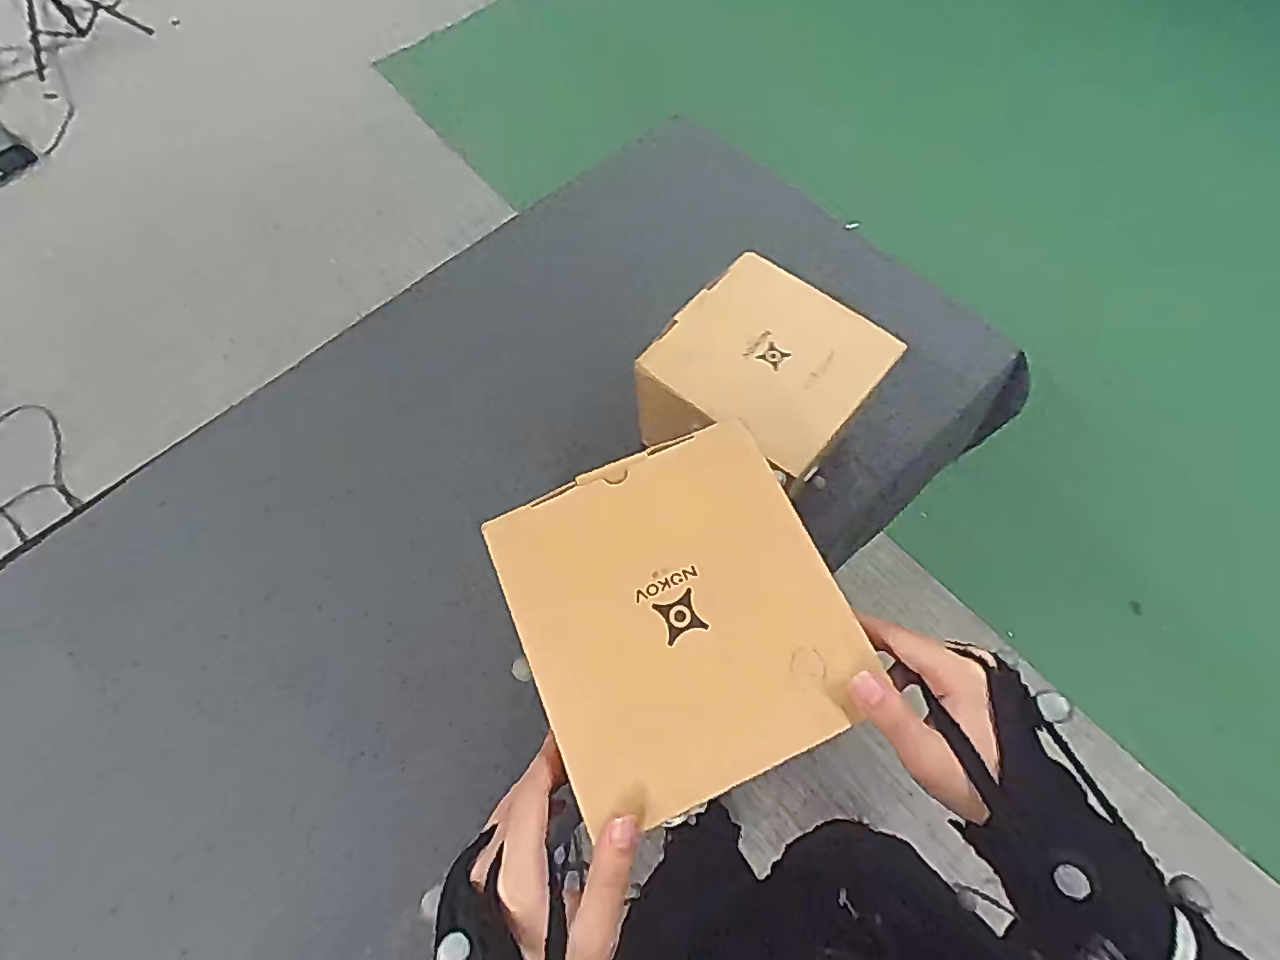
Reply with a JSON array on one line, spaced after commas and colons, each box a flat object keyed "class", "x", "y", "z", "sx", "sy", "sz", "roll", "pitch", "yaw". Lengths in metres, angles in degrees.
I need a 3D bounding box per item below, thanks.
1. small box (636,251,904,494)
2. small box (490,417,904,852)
[{"class": "small box", "x": 0.115, "y": -0.081, "z": 0.543, "sx": 0.179, "sy": 0.176, "sz": 0.168, "roll": 39, "pitch": 76, "yaw": 16}, {"class": "small box", "x": 0.027, "y": 0.092, "z": 0.357, "sx": 0.168, "sy": 0.176, "sz": 0.179, "roll": -23, "pitch": 72, "yaw": -6}]
